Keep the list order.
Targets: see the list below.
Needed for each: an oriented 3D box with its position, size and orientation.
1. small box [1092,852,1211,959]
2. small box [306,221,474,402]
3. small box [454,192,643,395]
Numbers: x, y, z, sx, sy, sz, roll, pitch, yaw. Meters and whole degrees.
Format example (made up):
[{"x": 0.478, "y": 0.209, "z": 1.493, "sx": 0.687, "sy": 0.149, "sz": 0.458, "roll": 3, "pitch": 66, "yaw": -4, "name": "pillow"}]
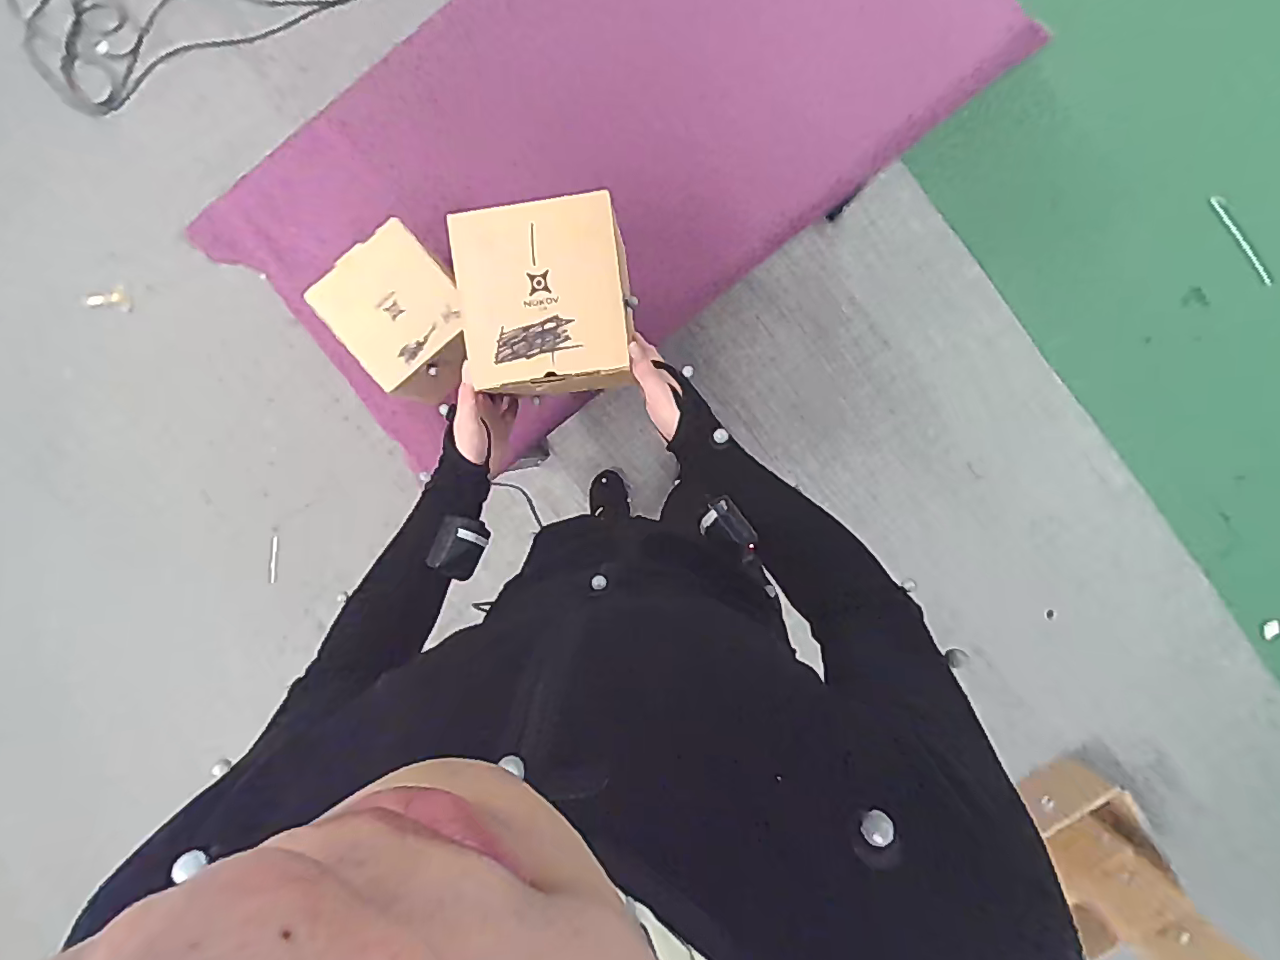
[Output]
[{"x": 1.326, "y": 1.109, "z": 1.378, "sx": 0.168, "sy": 0.176, "sz": 0.179, "roll": -34, "pitch": 93, "yaw": 3, "name": "small box"}, {"x": -0.333, "y": -0.233, "z": 0.805, "sx": 0.168, "sy": 0.176, "sz": 0.179, "roll": -40, "pitch": 92, "yaw": 3, "name": "small box"}, {"x": -0.090, "y": -0.192, "z": 0.614, "sx": 0.168, "sy": 0.176, "sz": 0.179, "roll": -6, "pitch": 94, "yaw": 4, "name": "small box"}]
